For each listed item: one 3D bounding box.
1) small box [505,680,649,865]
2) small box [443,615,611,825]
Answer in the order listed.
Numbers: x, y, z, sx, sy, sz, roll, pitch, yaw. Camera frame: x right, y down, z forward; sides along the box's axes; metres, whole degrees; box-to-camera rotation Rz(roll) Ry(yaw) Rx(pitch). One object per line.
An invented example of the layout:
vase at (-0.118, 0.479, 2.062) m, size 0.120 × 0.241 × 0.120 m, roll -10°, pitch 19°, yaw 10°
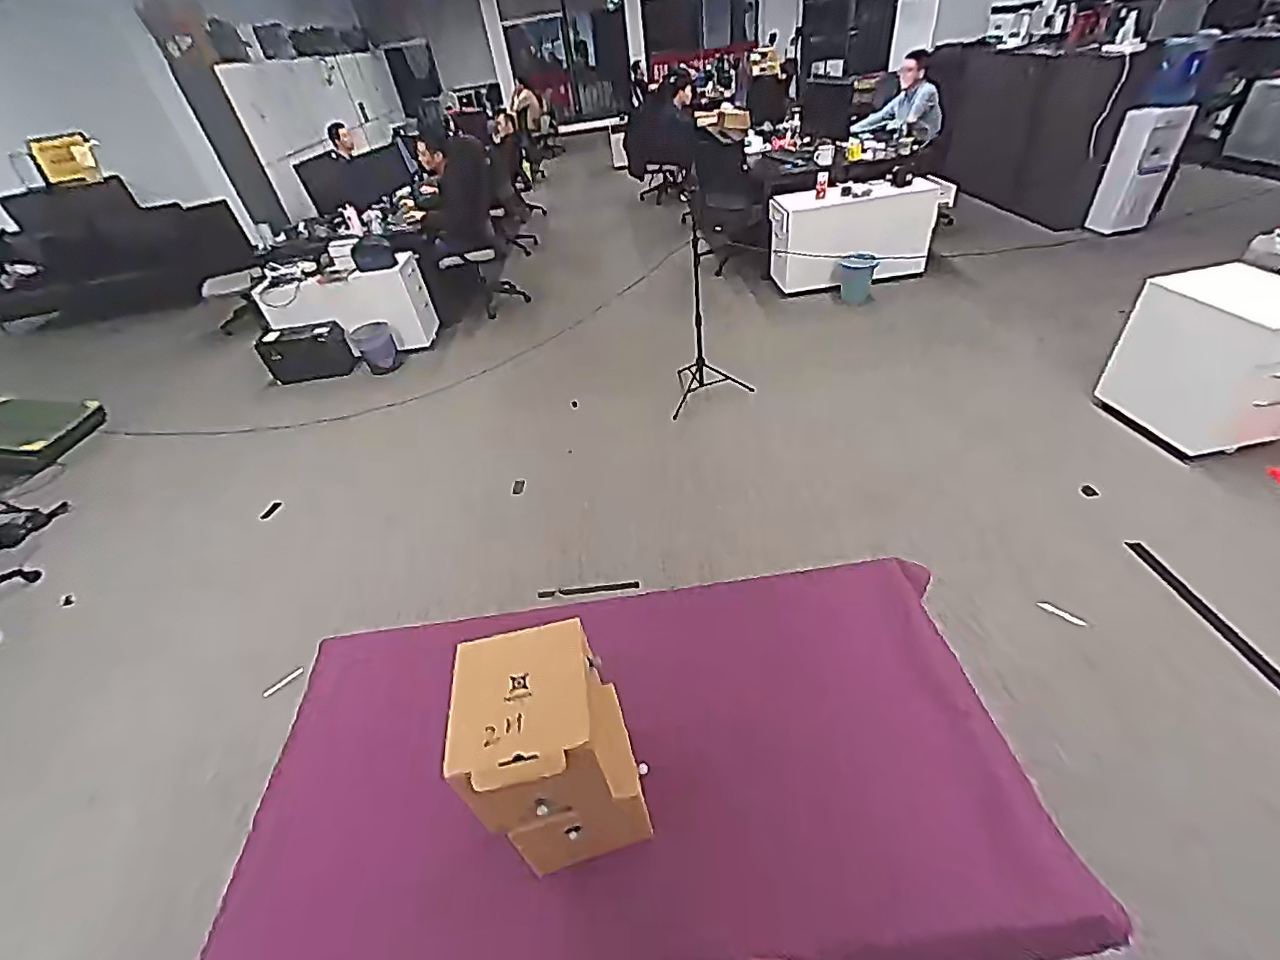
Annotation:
small box at (-0.095, 0.435, 0.801) m, size 0.179 × 0.176 × 0.168 m, roll -14°, pitch 40°, yaw -7°
small box at (-0.137, 0.308, 0.701) m, size 0.168 × 0.176 × 0.179 m, roll -12°, pitch 40°, yaw -2°
